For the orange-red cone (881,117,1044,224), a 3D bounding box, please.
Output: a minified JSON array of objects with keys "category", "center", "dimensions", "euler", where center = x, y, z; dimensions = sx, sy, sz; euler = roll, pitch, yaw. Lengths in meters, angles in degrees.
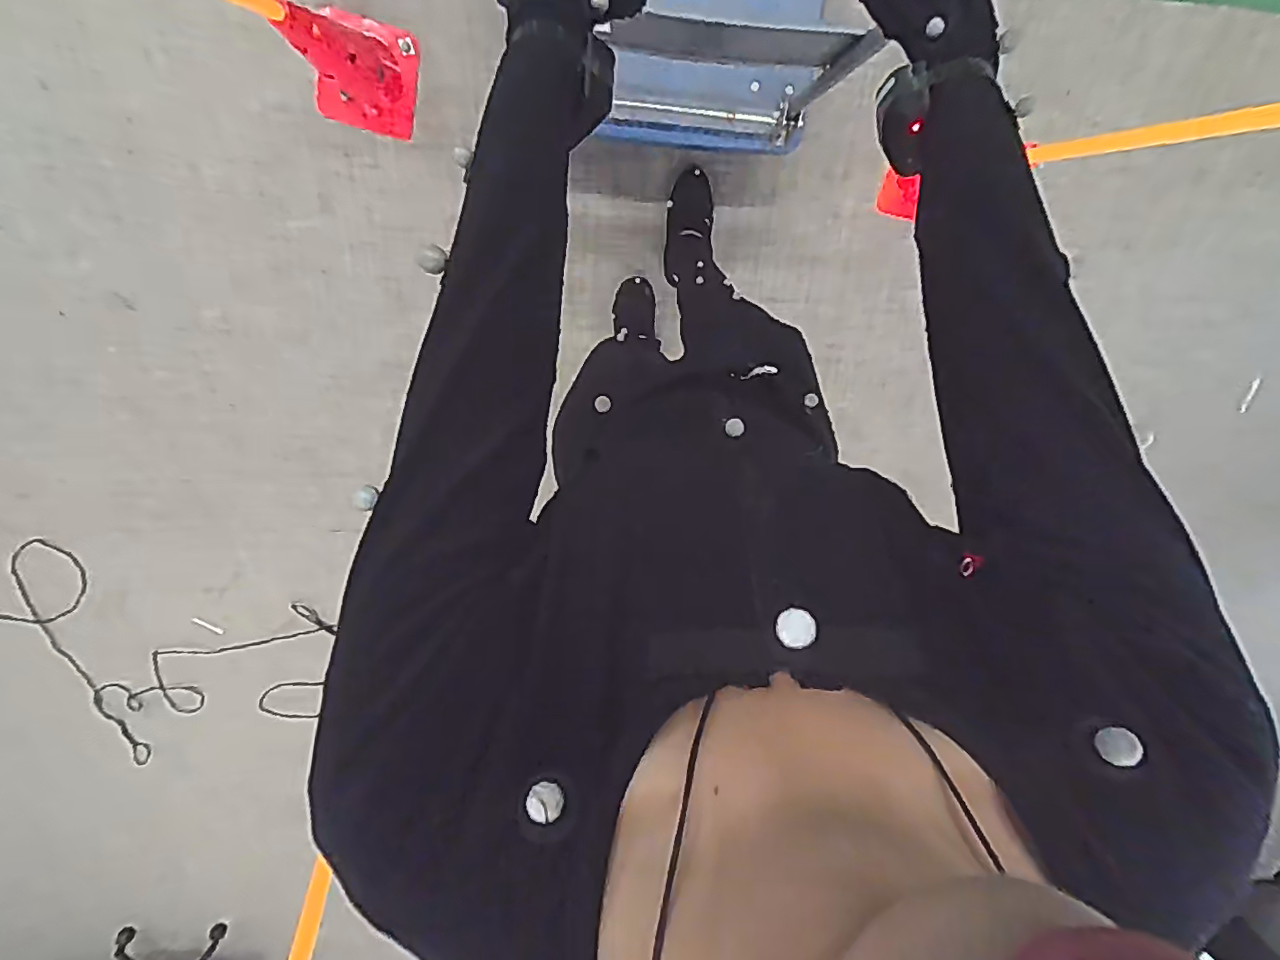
[{"category":"orange-red cone","center":[0.707,-0.668,1.140],"dimensions":[0.198,0.360,0.199],"euler":[11,113,-8]}]
